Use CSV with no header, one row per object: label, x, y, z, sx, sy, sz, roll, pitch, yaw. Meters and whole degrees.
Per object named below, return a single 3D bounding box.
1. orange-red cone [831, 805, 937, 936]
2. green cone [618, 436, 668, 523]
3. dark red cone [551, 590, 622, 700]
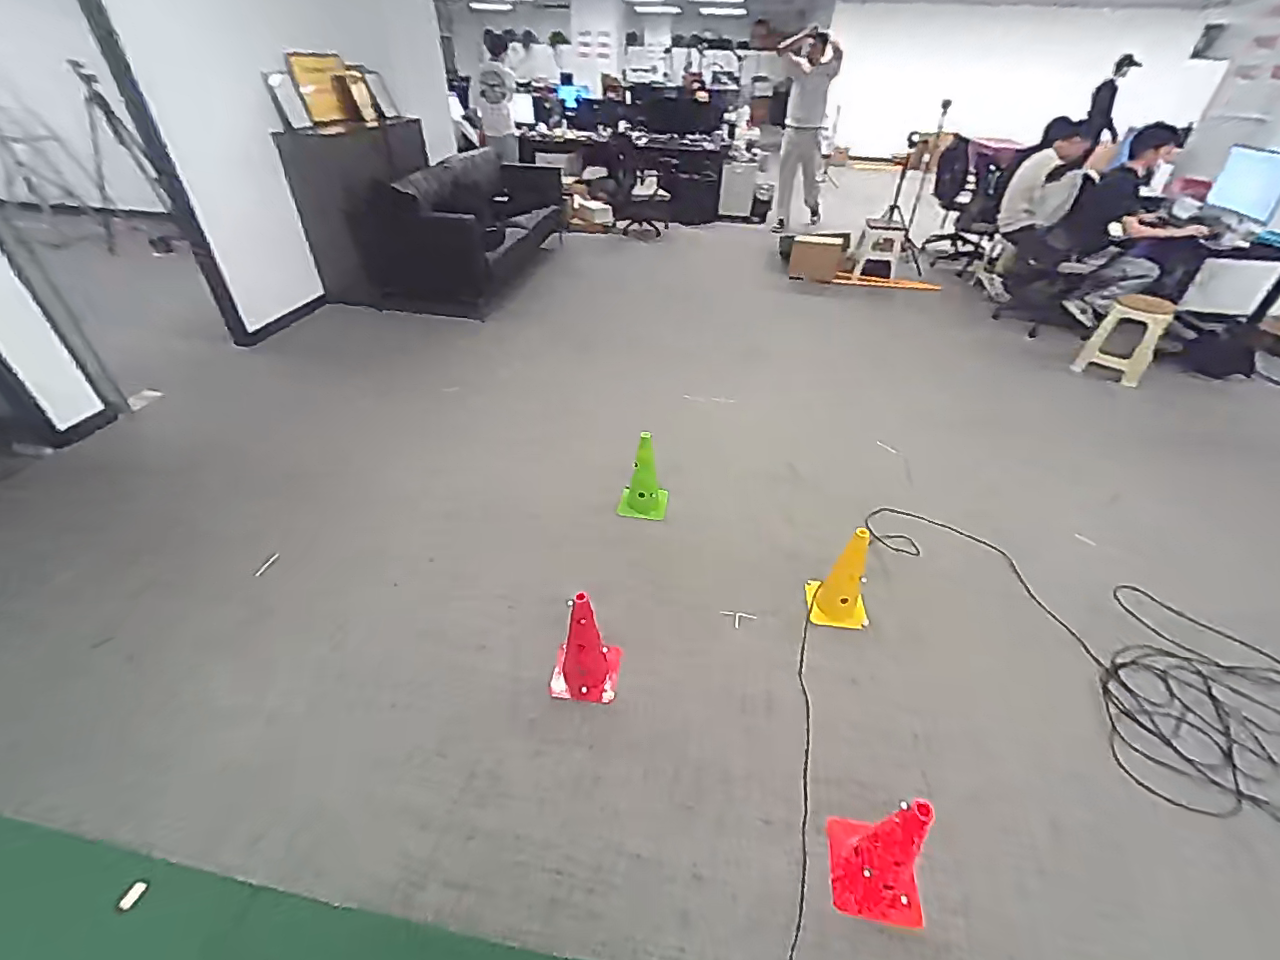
orange-red cone,0.565,0.804,1.181,0.198,0.360,0.199,8,37,7
green cone,0.023,-0.021,2.248,0.202,0.368,0.200,7,38,5
dark red cone,-0.159,0.458,1.573,0.202,0.394,0.201,4,39,3
